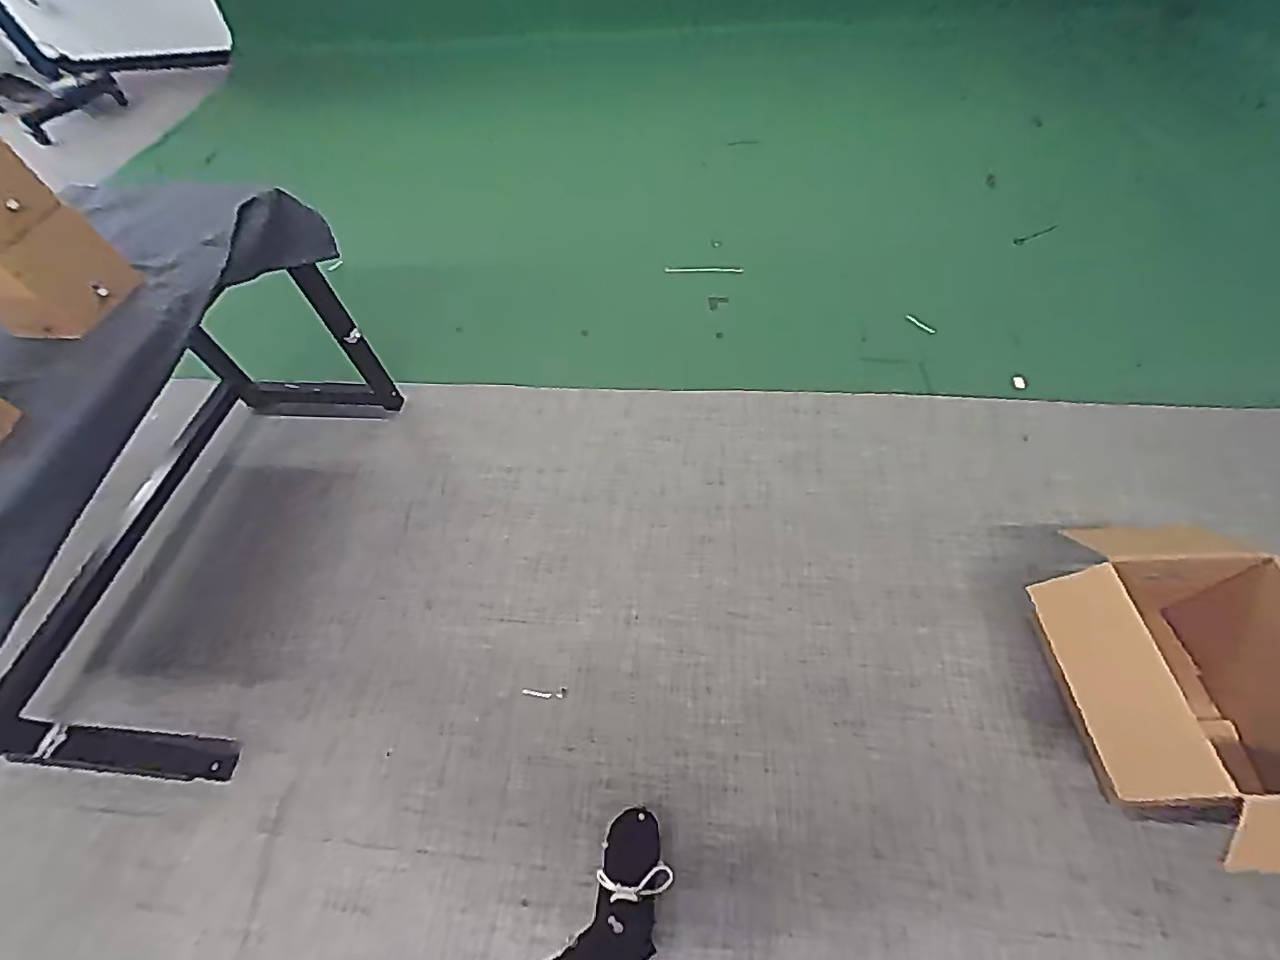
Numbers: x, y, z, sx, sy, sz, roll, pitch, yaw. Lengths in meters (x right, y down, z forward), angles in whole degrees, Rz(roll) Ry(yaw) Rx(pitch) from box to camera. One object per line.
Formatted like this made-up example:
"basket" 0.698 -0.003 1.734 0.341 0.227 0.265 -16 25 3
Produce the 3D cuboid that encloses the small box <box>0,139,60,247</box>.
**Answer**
"small box" -1.123 -0.476 0.854 0.168 0.176 0.179 4 57 8

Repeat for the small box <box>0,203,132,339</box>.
"small box" -1.108 -0.384 0.994 0.168 0.176 0.179 3 56 7
